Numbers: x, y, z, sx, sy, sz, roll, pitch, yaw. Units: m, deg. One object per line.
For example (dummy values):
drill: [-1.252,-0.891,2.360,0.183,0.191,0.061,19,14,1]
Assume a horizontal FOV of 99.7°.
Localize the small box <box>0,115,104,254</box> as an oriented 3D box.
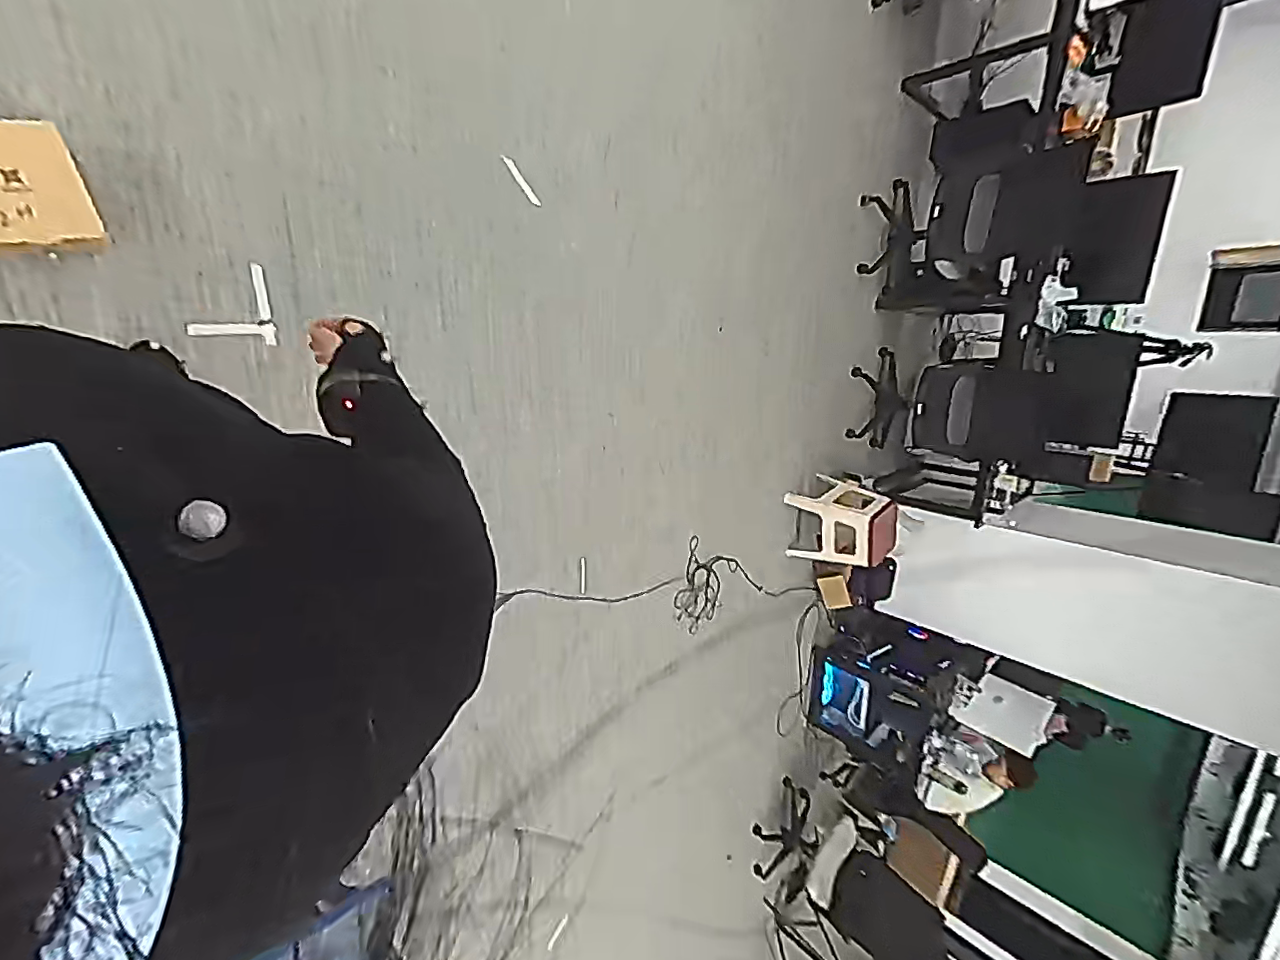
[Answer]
small box: [-1.041,-0.483,0.898,0.168,0.176,0.179,-26,118,-37]
